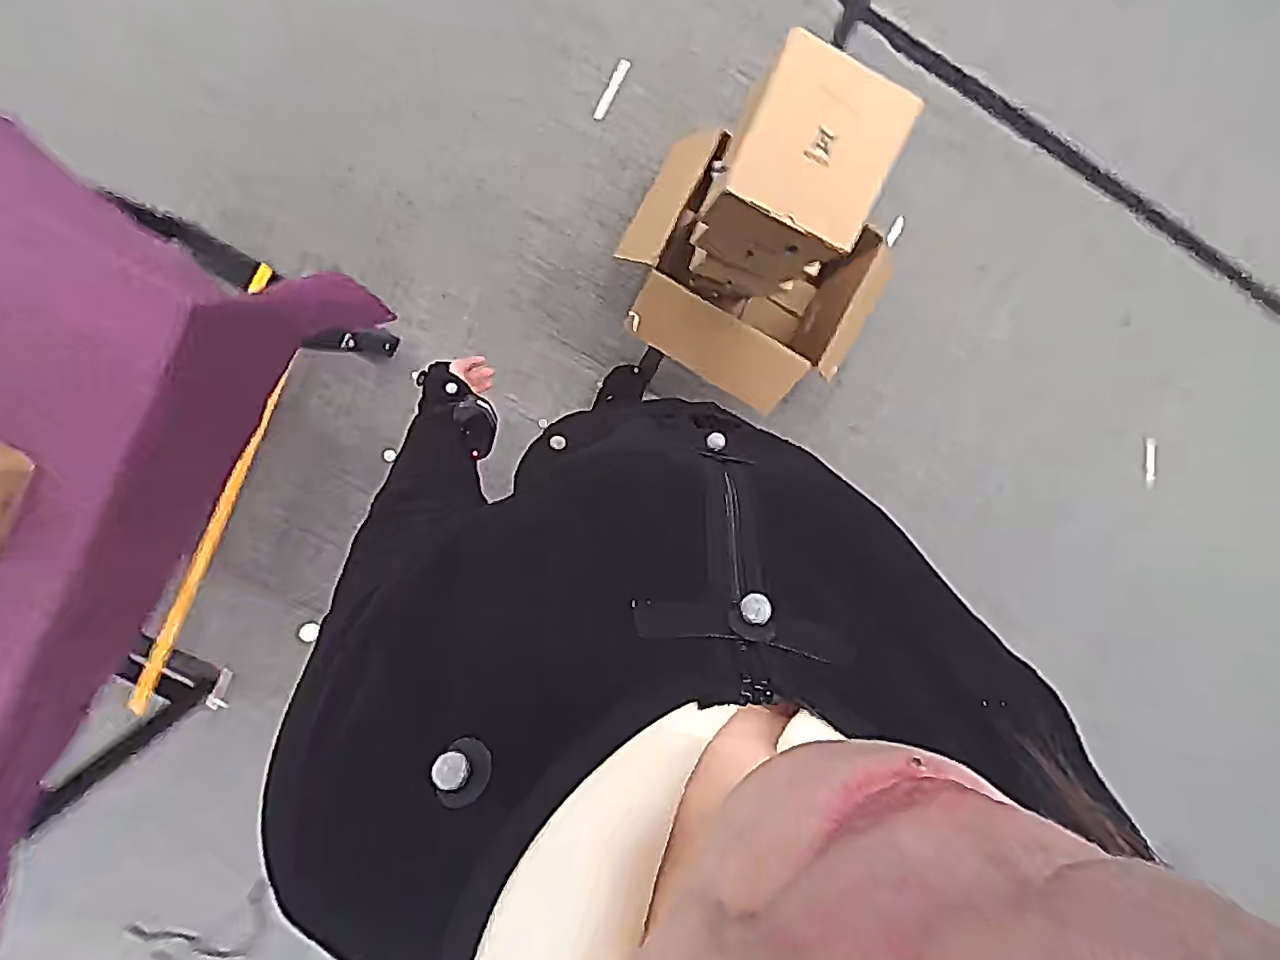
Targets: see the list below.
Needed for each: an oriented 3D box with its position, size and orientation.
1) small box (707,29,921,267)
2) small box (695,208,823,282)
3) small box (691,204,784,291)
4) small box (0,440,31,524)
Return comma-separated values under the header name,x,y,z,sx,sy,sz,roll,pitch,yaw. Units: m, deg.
name,x,y,z,sx,sy,sz,roll,pitch,yaw
small box,0.197,-0.387,0.675,0.168,0.176,0.179,23,102,-10
small box,0.202,-0.421,0.835,0.179,0.176,0.168,22,103,-10
small box,0.216,-0.507,1.154,0.179,0.176,0.168,8,103,-7
small box,-0.911,0.008,0.640,0.179,0.176,0.168,33,97,-7
